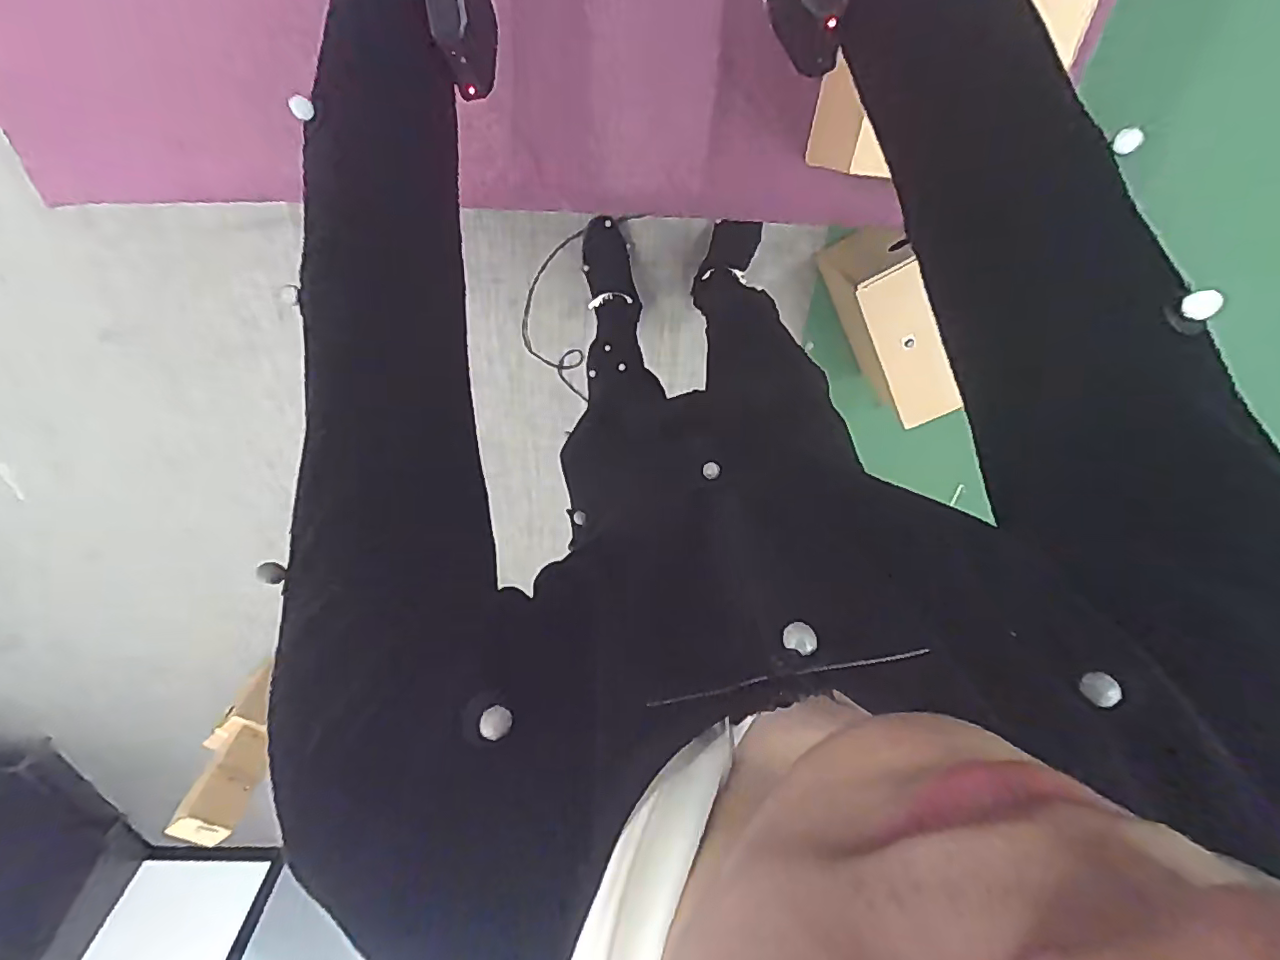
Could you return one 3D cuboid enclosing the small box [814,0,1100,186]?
[{"bbox_3d":[0.283,-0.395,0.522,0.168,0.176,0.179,5,122,-1],"label":"small box"}]

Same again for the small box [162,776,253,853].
[{"bbox_3d":[-1.522,1.182,1.916,0.179,0.176,0.168,-37,117,23],"label":"small box"}]

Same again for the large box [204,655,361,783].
[{"bbox_3d":[-1.500,1.013,2.298,0.320,0.320,0.408,-38,118,24],"label":"large box"}]
